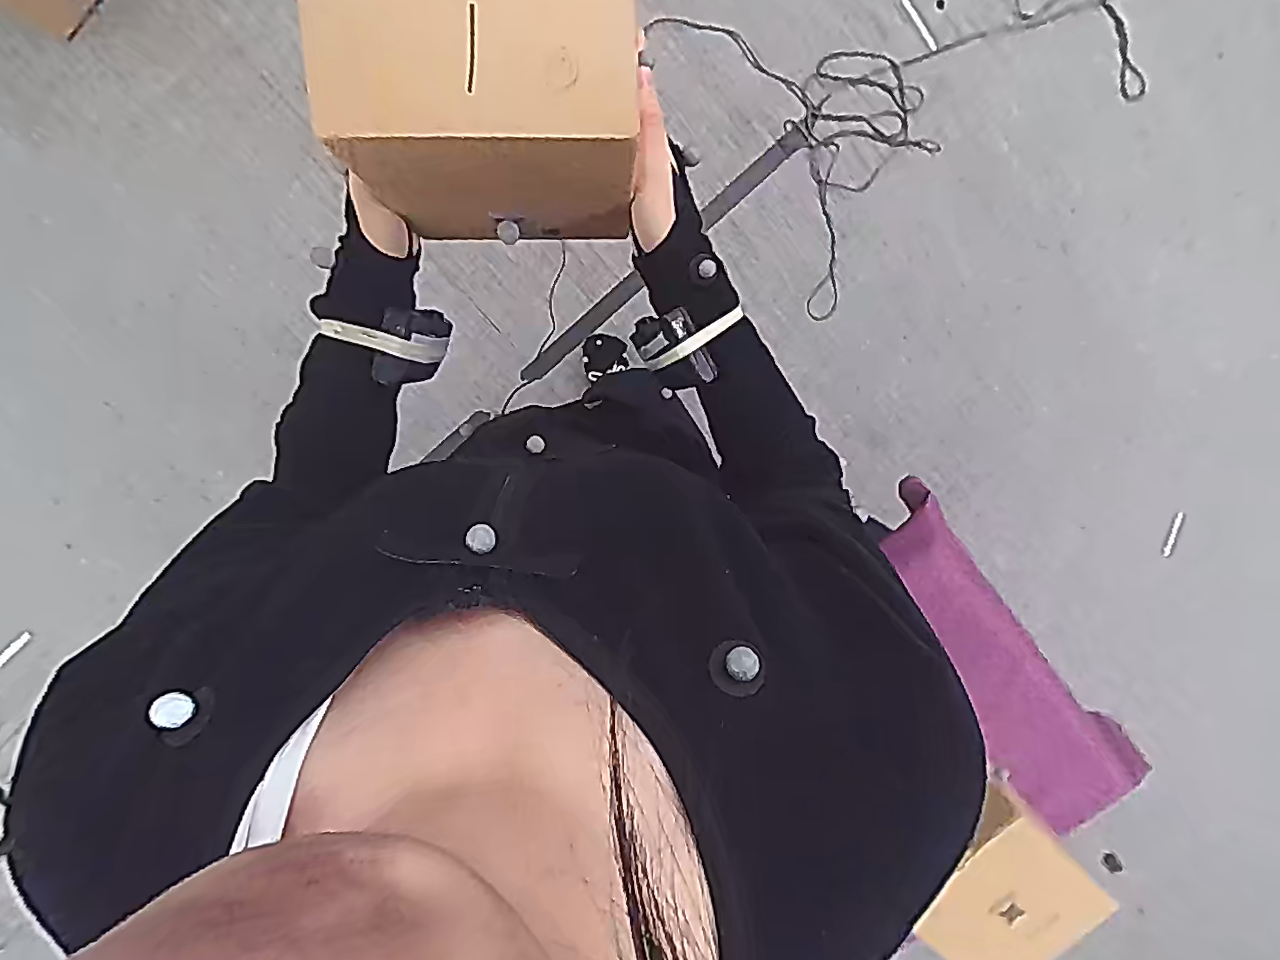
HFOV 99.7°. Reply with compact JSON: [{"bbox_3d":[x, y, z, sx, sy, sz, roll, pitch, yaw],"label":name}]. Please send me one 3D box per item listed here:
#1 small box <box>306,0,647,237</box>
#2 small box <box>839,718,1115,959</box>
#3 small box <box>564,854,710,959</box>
[{"bbox_3d":[-0.084,-0.271,0.341,0.168,0.176,0.179,-2,98,-3],"label":"small box"},{"bbox_3d":[0.369,0.413,0.628,0.179,0.176,0.168,42,98,-12],"label":"small box"},{"bbox_3d":[-0.008,0.736,0.848,0.168,0.176,0.179,-41,102,5],"label":"small box"}]
